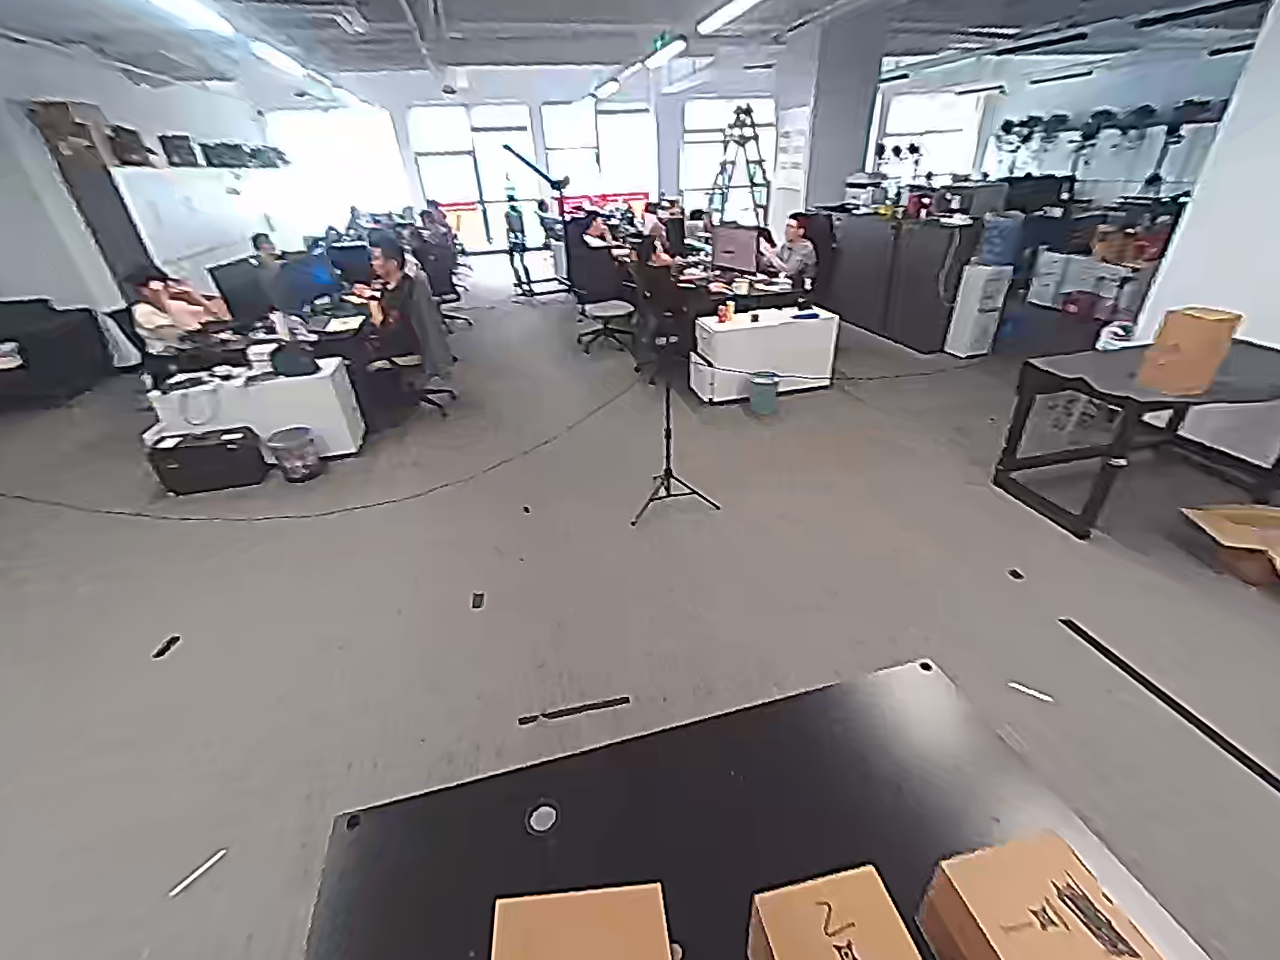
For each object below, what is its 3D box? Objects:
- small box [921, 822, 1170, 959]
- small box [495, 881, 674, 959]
[{"bbox_3d":[0.492,0.579,0.683,0.179,0.176,0.168,-10,30,-9],"label":"small box"},{"bbox_3d":[-0.053,0.518,0.502,0.168,0.176,0.179,0,30,-8],"label":"small box"}]
